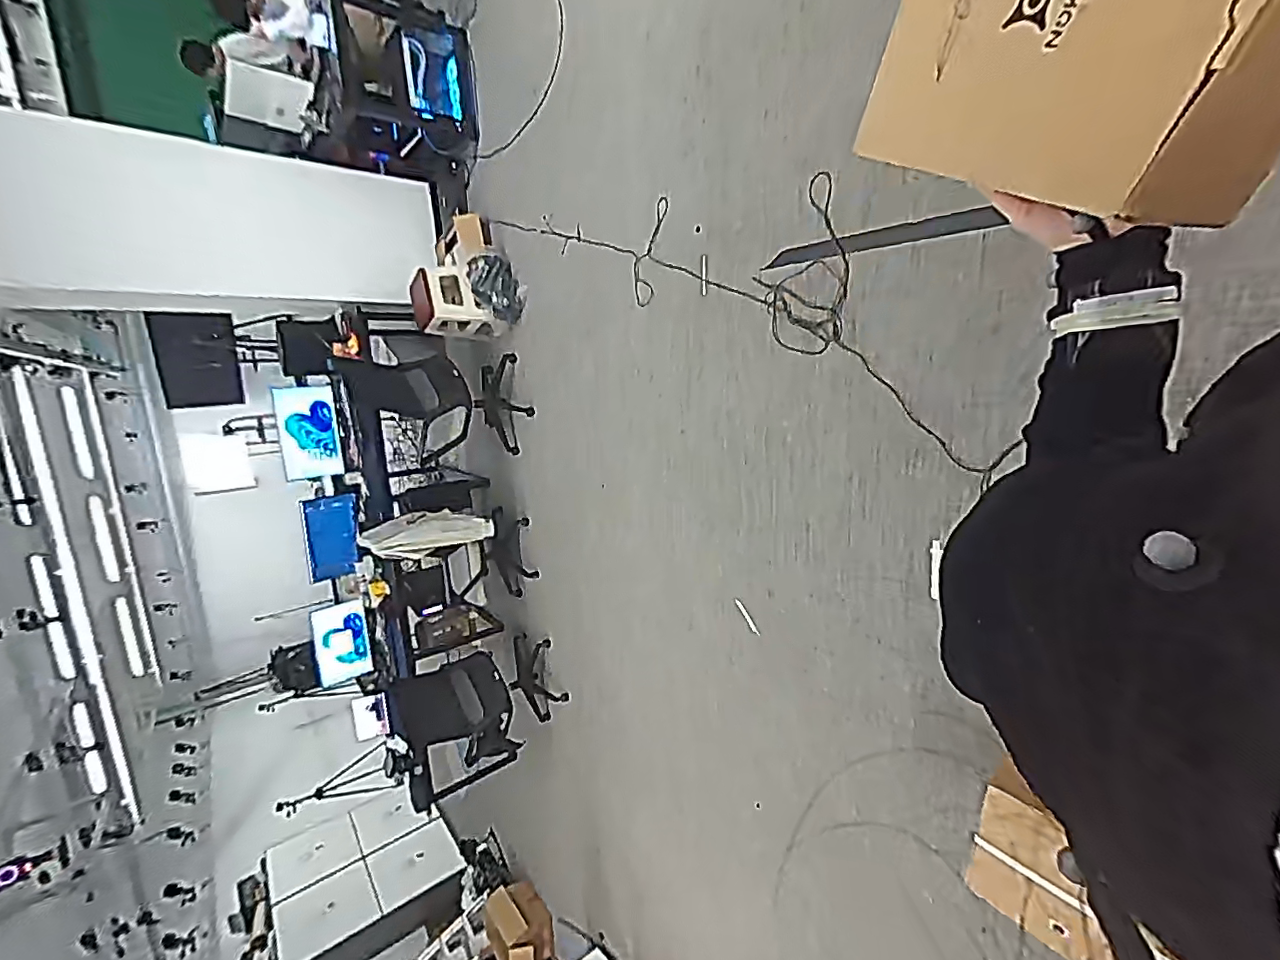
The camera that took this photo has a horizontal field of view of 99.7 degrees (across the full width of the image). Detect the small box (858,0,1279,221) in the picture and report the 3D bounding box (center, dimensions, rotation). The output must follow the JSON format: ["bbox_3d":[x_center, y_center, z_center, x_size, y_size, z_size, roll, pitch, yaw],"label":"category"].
[{"bbox_3d":[0.274,-0.258,0.310,0.179,0.176,0.168,49,141,41],"label":"small box"}]
